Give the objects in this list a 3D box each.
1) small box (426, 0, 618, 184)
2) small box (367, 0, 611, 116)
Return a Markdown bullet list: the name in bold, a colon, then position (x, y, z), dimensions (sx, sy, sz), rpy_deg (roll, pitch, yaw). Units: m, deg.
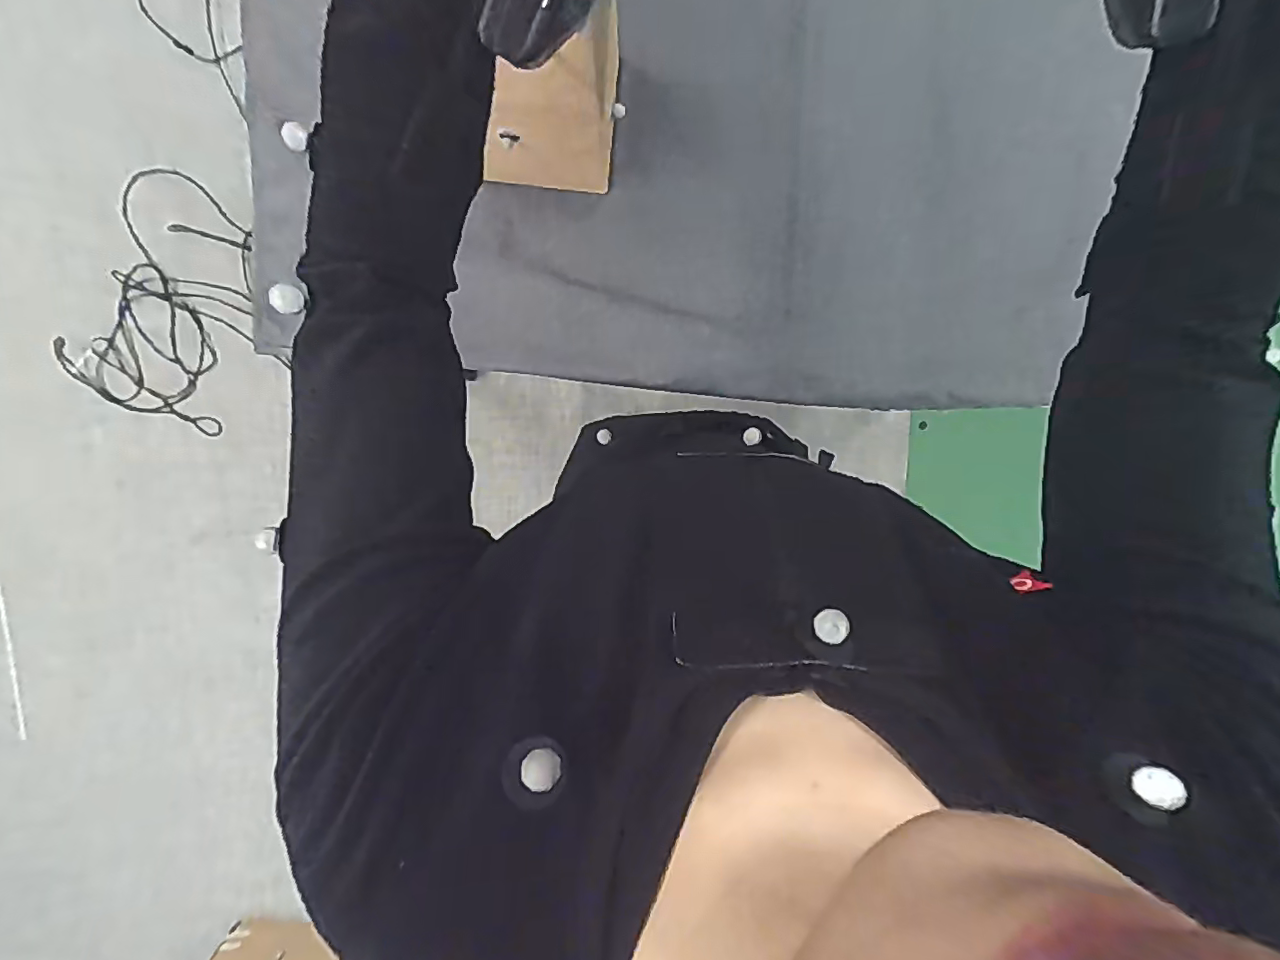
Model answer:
- **small box**: position (-0.120, -0.460, 0.611), dimensions (0.179, 0.176, 0.168), rpy_deg (6, 96, -2)
- **small box**: position (-0.113, -0.436, 0.448), dimensions (0.179, 0.176, 0.168), rpy_deg (4, 96, -2)
